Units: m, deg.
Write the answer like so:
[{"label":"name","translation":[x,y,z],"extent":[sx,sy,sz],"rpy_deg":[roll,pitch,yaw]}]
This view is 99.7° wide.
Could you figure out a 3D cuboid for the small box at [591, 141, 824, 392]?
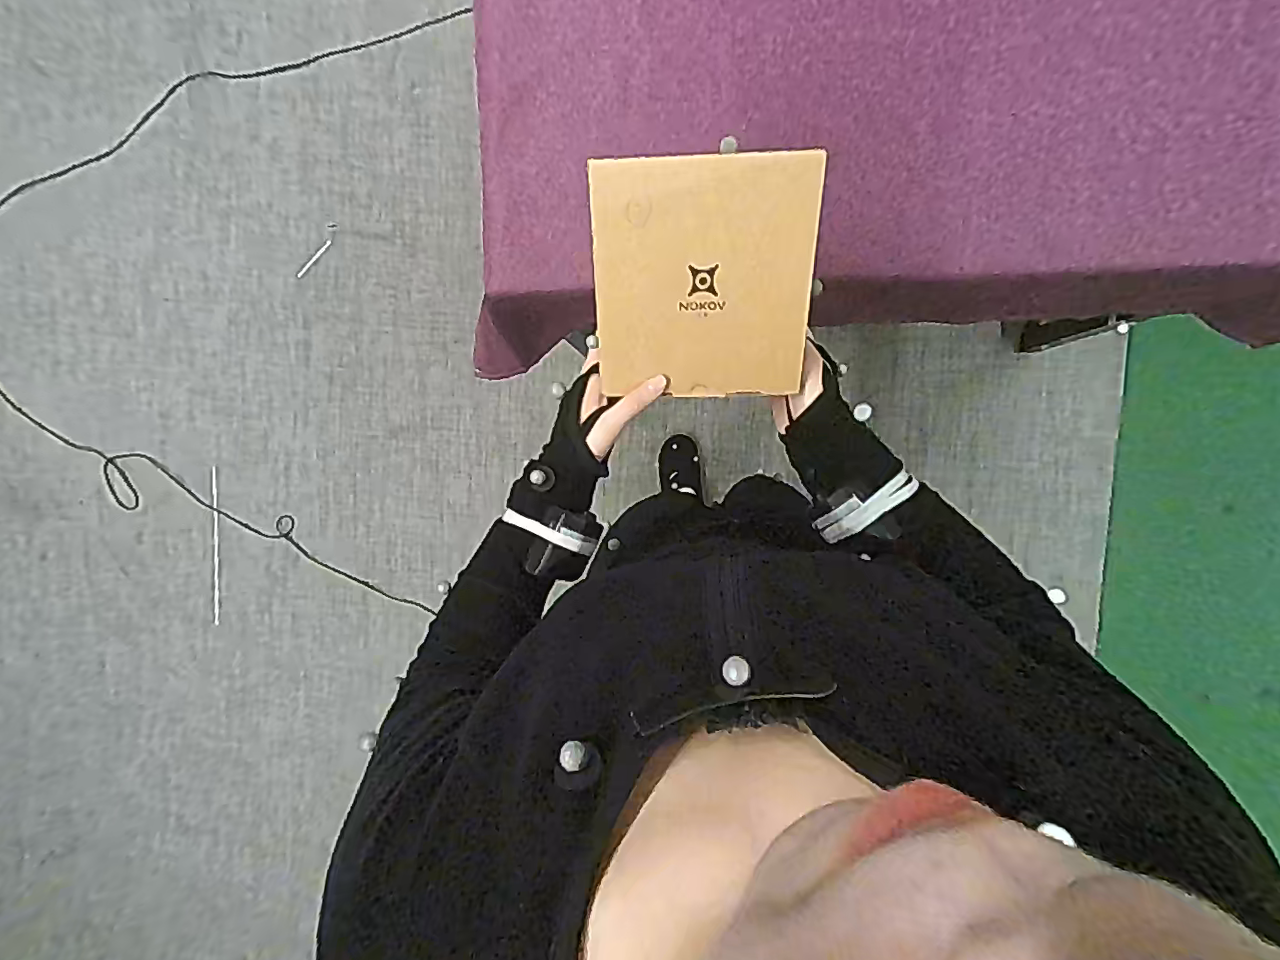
[{"label":"small box","translation":[0.051,-0.190,0.481],"extent":[0.168,0.176,0.179],"rpy_deg":[-1,119,4]}]
